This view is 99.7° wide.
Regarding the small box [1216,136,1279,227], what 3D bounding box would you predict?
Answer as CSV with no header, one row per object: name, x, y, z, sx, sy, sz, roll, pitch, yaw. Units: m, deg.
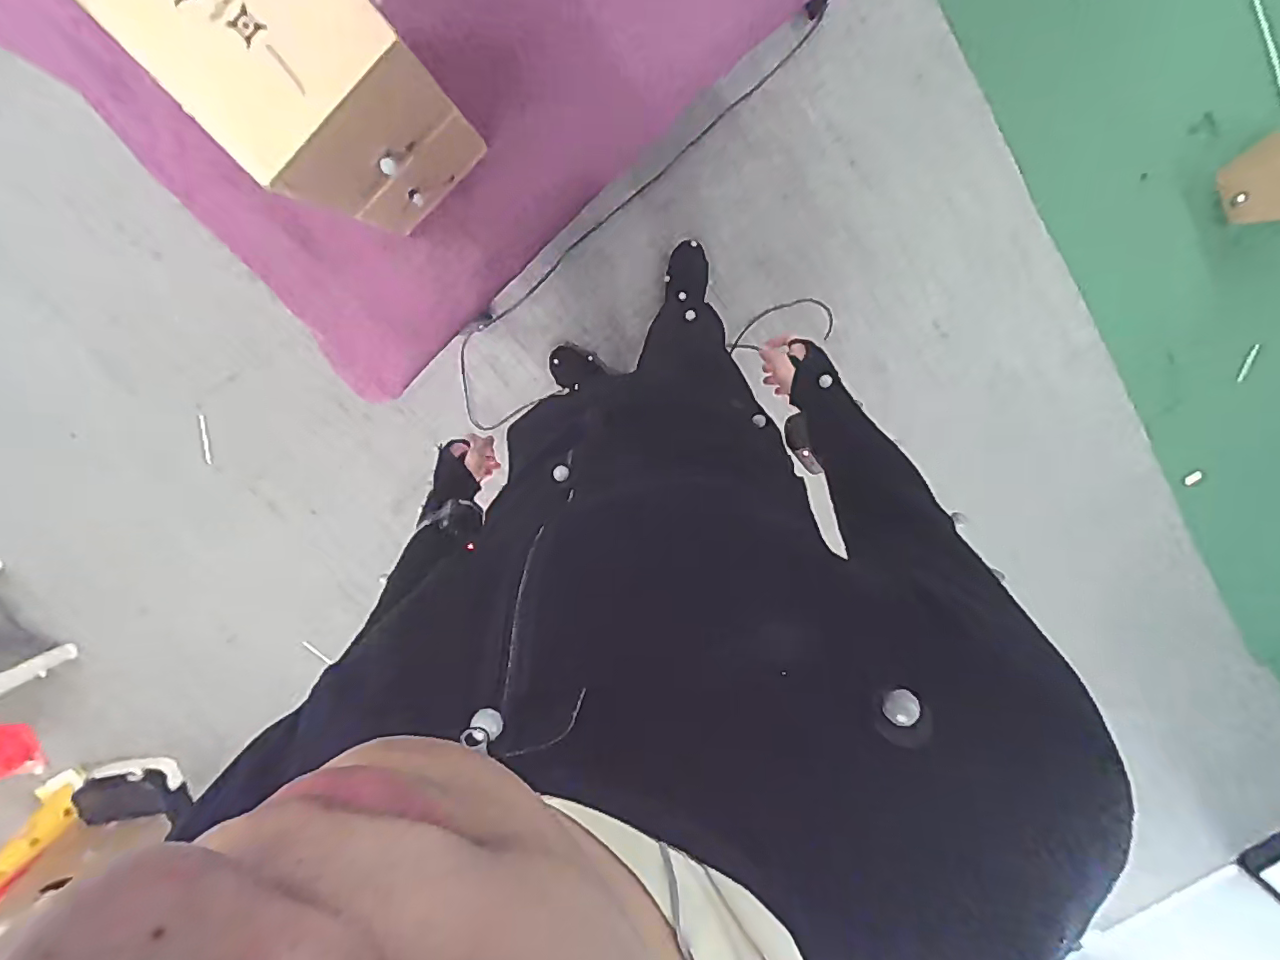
small box,1.682,-0.788,1.404,0.179,0.176,0.168,-36,106,8

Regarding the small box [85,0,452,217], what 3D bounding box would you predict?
small box,-0.307,-0.372,0.491,0.168,0.176,0.179,-40,106,9

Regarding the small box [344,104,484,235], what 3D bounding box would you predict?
small box,-0.315,-0.419,0.648,0.168,0.176,0.179,-40,105,9
